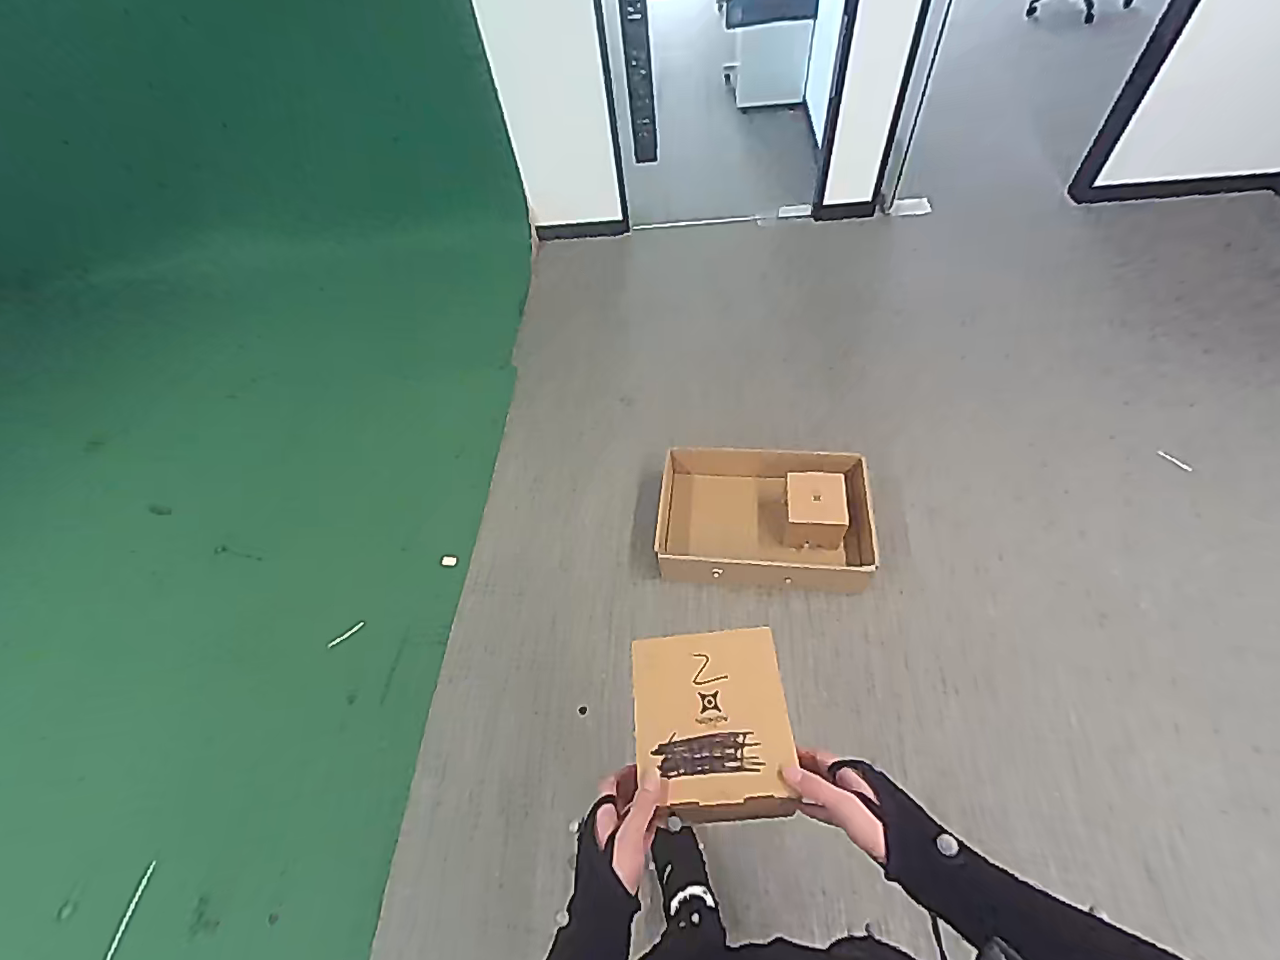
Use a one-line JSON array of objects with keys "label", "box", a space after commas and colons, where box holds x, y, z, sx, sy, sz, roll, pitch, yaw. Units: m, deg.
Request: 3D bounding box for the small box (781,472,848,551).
[{"label": "small box", "box": [0.518, 0.095, 1.627, 0.168, 0.176, 0.179, 2, 56, 9]}]
